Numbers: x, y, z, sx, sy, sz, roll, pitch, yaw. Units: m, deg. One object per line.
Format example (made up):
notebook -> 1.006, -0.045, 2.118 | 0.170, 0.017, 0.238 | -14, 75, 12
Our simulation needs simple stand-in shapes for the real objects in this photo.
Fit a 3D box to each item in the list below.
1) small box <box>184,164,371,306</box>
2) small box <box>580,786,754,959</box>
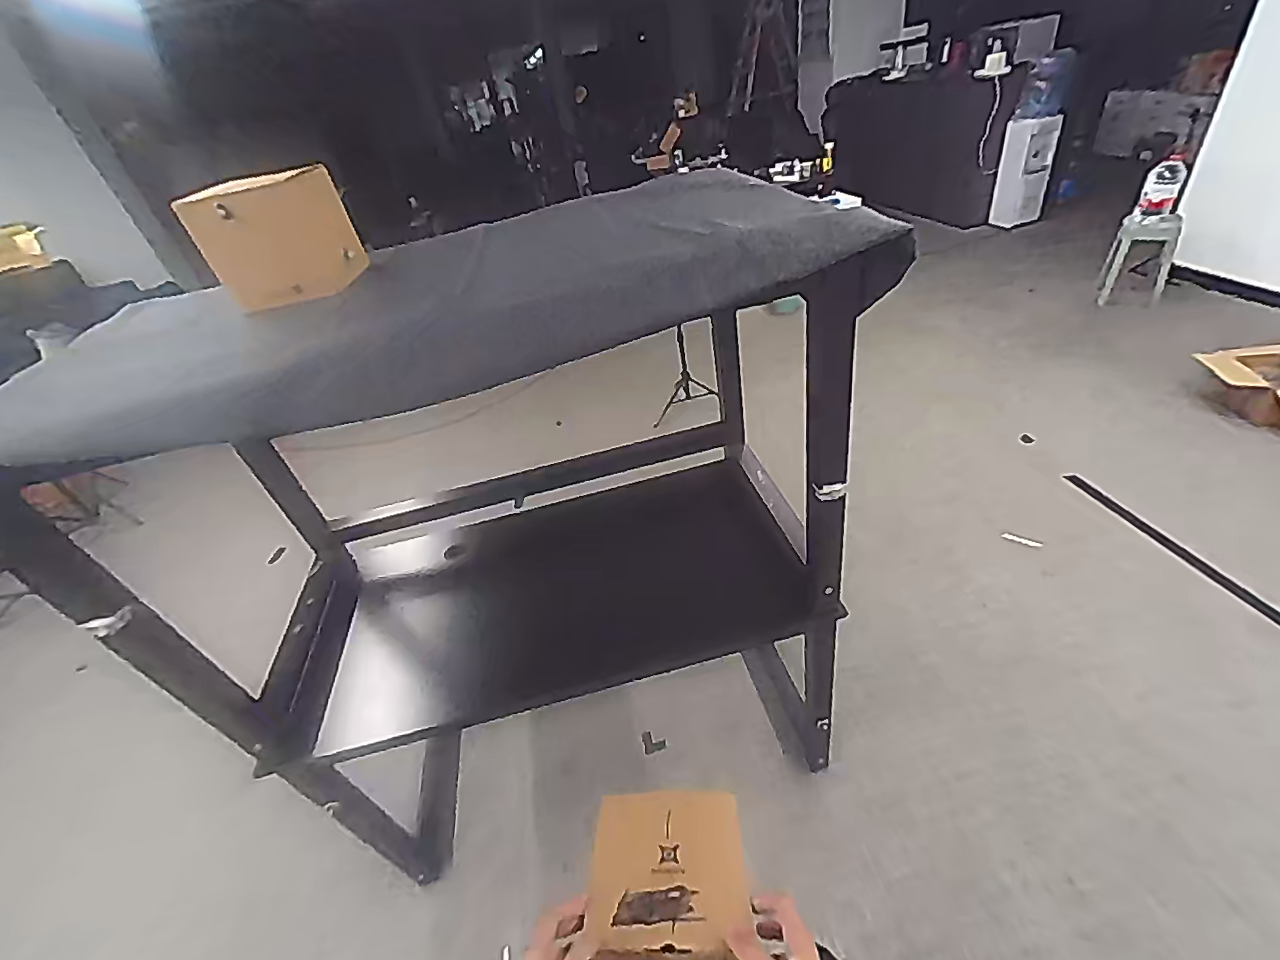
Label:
small box -> -0.573, -0.403, 0.889 | 0.168, 0.176, 0.179 | -11, 37, 1
small box -> 0.035, 0.476, 0.599 | 0.168, 0.176, 0.179 | -3, 16, 4
